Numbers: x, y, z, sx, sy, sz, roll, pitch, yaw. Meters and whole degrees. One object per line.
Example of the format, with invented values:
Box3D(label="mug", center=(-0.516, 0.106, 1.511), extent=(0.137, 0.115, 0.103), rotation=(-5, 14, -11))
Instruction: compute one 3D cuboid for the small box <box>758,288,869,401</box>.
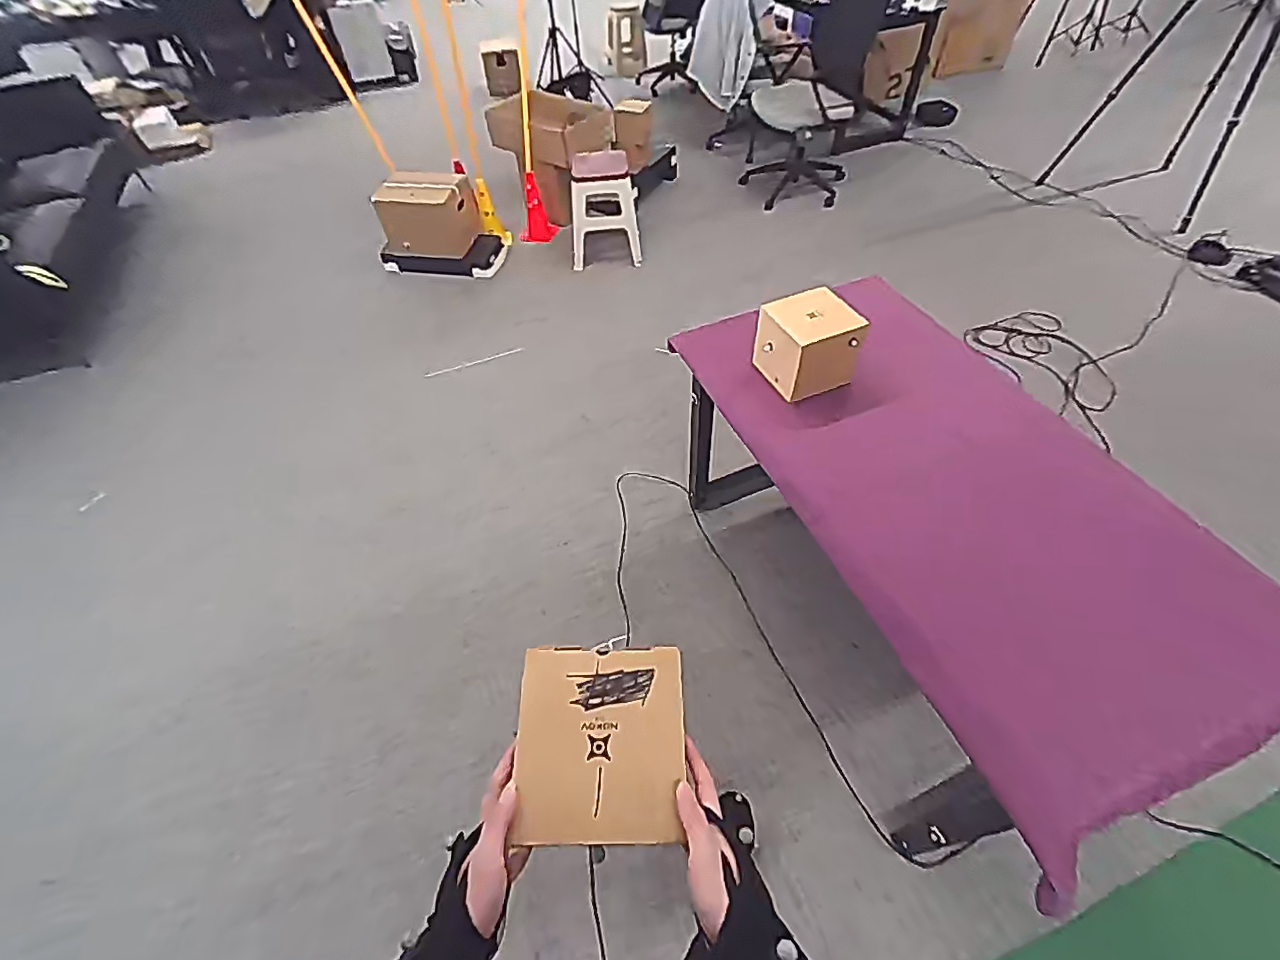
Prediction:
Box3D(label="small box", center=(0.386, -0.308, 1.242), extent=(0.179, 0.176, 0.168), rotation=(-20, 53, -13))

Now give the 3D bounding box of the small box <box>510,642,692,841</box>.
Box3D(label="small box", center=(-0.035, 0.289, 0.592), extent=(0.168, 0.176, 0.179), rotation=(-1, 57, 0))
